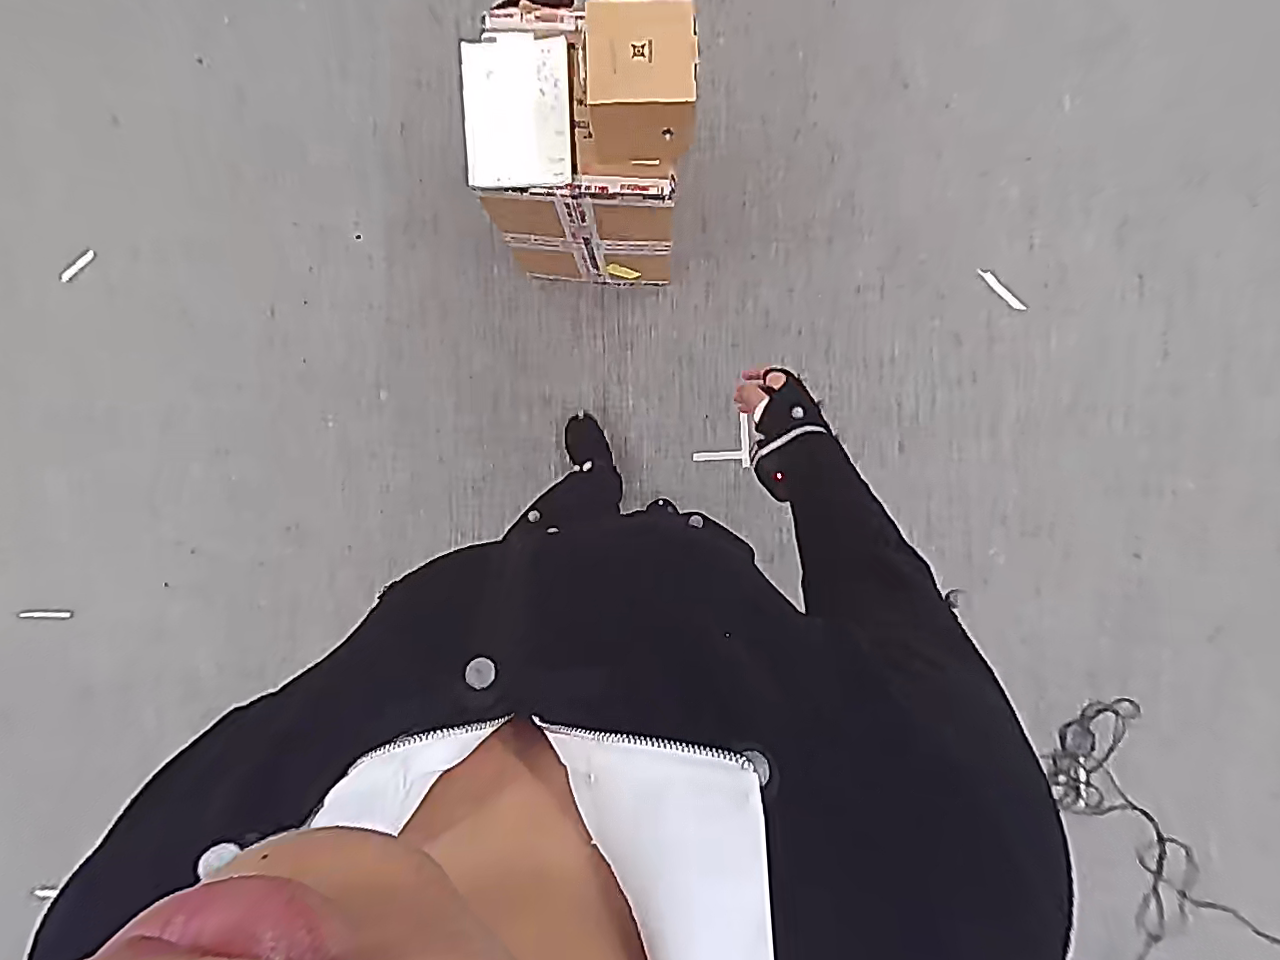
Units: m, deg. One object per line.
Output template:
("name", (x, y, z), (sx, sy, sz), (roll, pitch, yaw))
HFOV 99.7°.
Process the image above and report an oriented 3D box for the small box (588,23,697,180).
("small box", (0.004, -0.653, 0.952), (0.179, 0.176, 0.168), (-2, 91, 1))
